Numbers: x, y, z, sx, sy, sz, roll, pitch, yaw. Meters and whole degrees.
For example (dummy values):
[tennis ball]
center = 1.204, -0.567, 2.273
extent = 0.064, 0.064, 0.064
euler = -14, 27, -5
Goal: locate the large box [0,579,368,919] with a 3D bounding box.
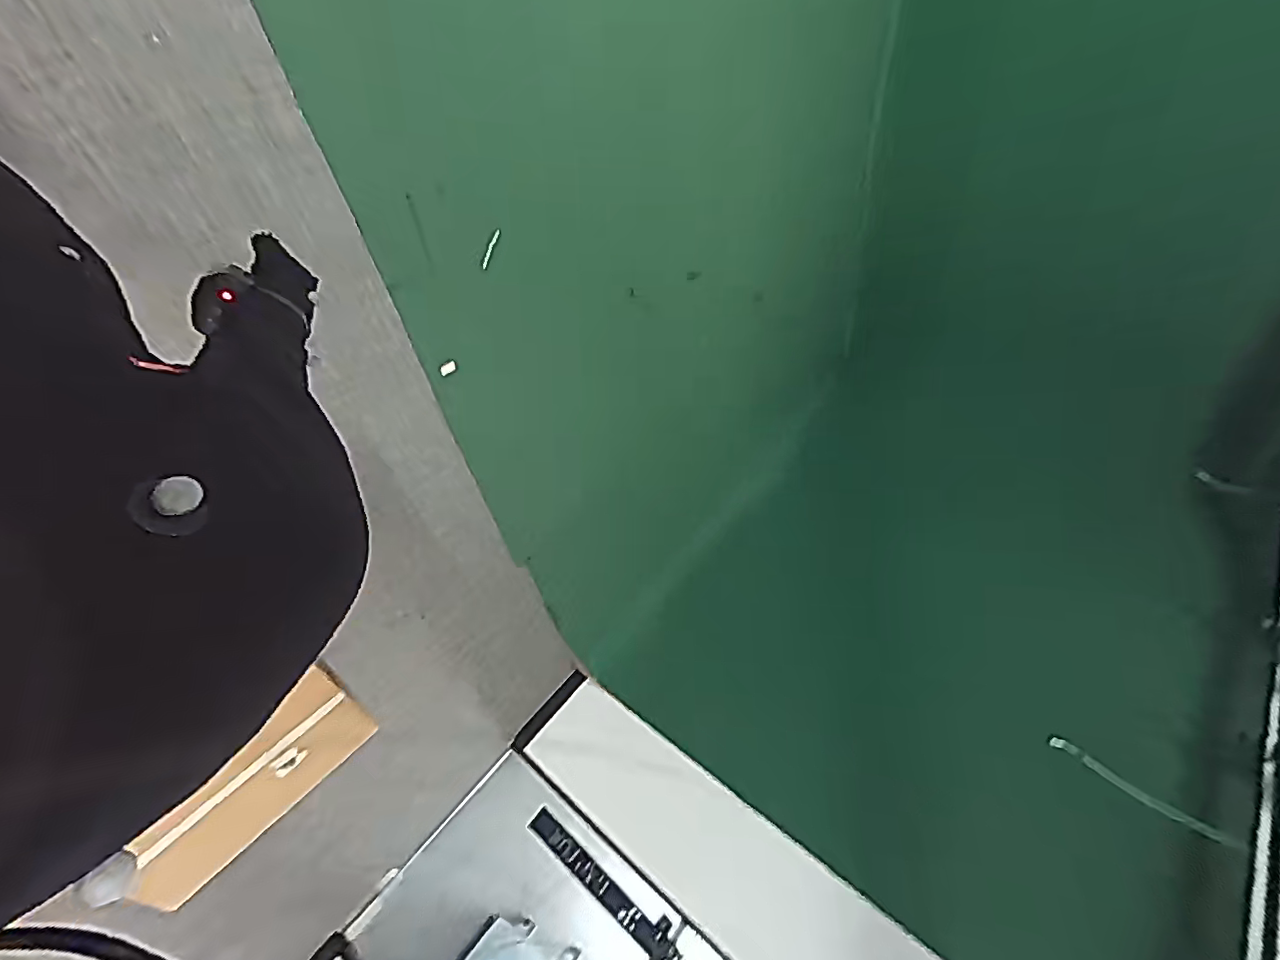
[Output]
[large box]
center = -0.820, 0.467, 1.002
extent = 0.408, 0.320, 0.320
euler = -42, 138, -32
